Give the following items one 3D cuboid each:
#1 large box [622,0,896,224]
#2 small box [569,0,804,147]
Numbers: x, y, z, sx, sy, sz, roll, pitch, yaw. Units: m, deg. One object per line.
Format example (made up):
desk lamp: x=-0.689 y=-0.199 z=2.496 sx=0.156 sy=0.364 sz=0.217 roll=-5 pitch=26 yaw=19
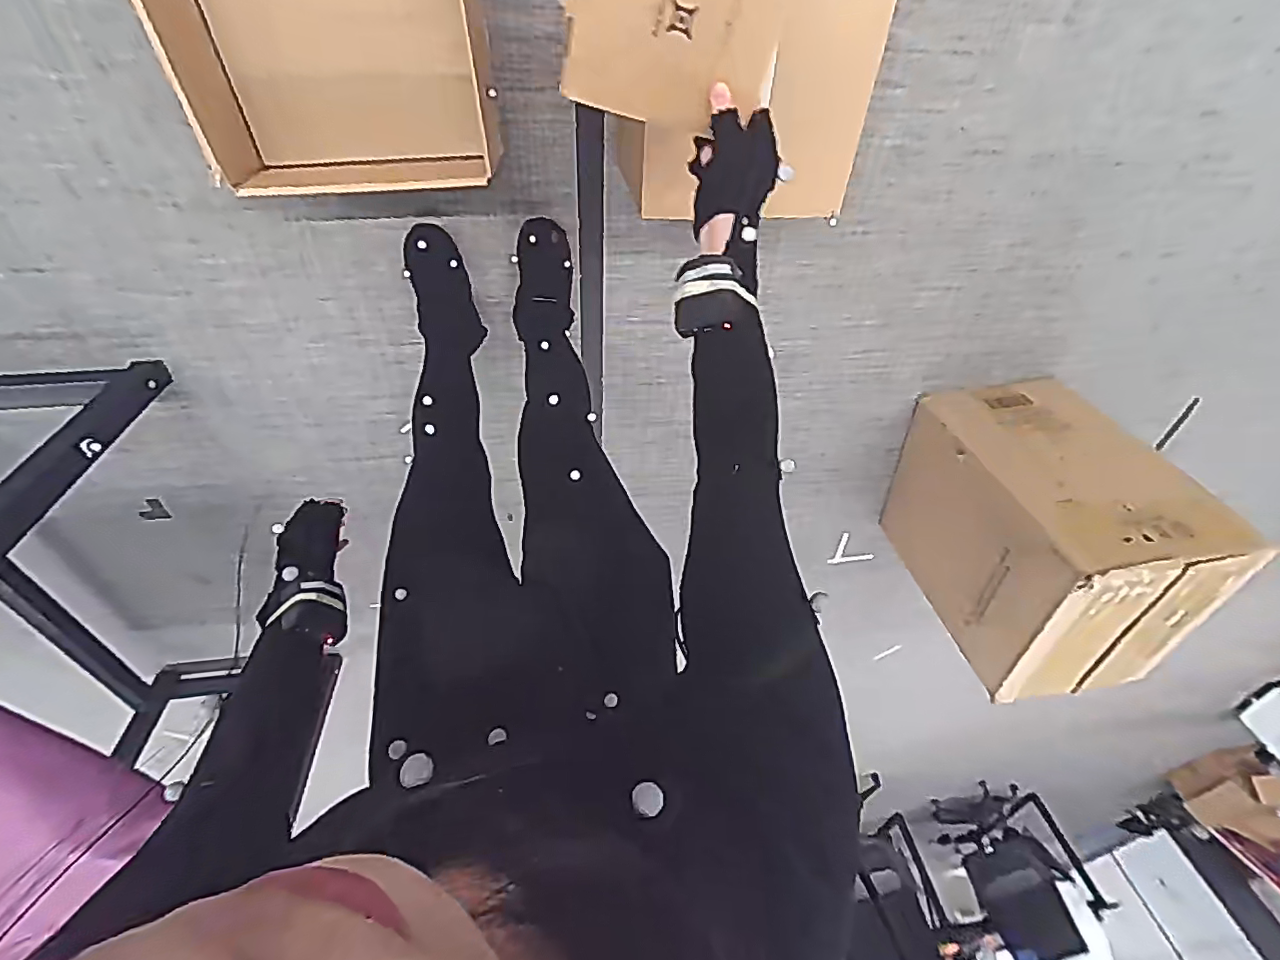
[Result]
large box: x=0.143 y=-0.639 z=0.795 sx=0.320 sy=0.320 sz=0.408 roll=-3 pitch=132 yaw=-7
small box: x=0.042 y=-0.447 z=0.487 sx=0.179 sy=0.176 sz=0.168 roll=10 pitch=147 yaw=-11
